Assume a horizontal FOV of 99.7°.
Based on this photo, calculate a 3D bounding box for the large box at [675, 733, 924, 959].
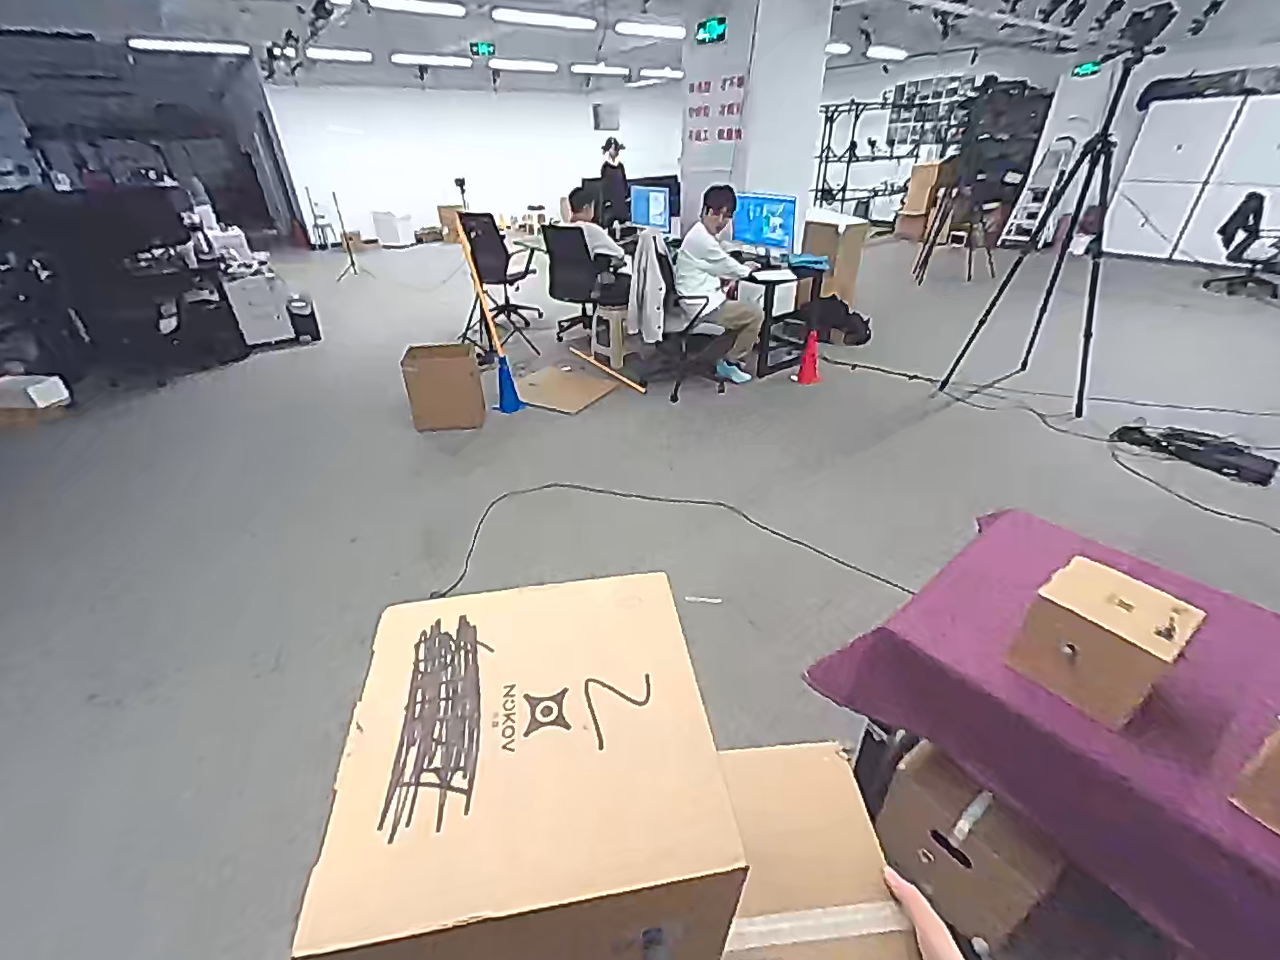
[{"bbox_3d":[0.039,0.509,0.565,0.408,0.320,0.320,-3,39,-3],"label":"large box"}]

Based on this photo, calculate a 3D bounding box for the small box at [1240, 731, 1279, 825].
[{"bbox_3d":[0.937,0.381,0.686,0.179,0.176,0.168,-20,36,-24],"label":"small box"}]

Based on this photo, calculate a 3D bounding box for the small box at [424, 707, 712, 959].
[{"bbox_3d":[-0.051,0.309,0.427,0.179,0.176,0.168,-6,37,-6],"label":"small box"}]

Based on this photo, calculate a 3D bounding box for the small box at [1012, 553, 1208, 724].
[{"bbox_3d":[0.759,0.257,0.891,0.168,0.176,0.179,-23,37,-28],"label":"small box"}]
